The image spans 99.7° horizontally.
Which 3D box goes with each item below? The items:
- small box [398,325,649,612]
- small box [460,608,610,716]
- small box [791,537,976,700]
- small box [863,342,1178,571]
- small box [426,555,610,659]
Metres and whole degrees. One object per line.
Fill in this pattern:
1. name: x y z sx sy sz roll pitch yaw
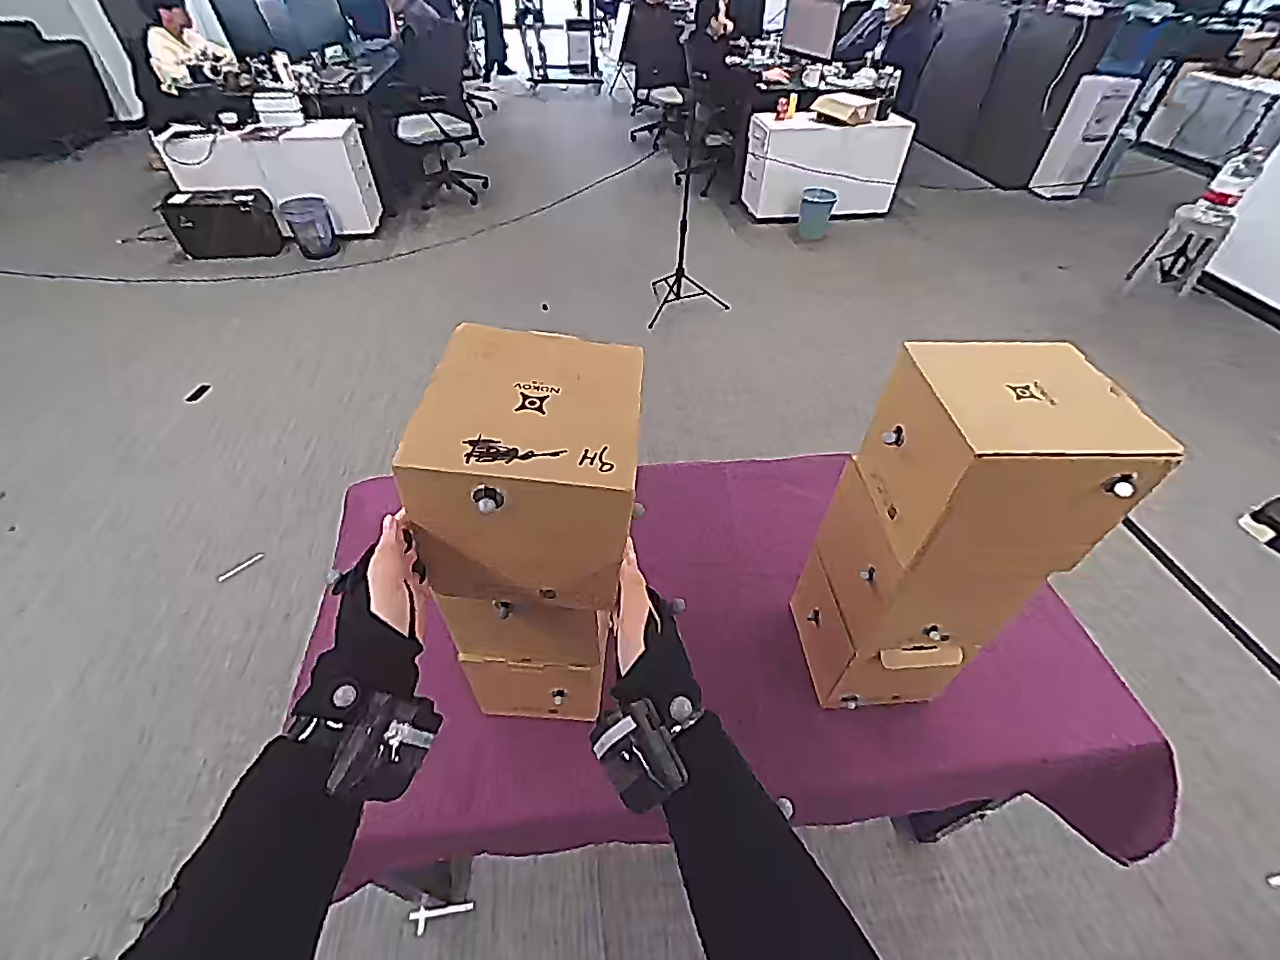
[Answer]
1. small box: -0.087 -0.009 0.477 0.168 0.176 0.179 6 47 -3
2. small box: -0.132 0.213 0.760 0.168 0.176 0.179 4 46 1
3. small box: 0.332 0.203 0.780 0.168 0.176 0.179 -2 45 -4
4. small box: 0.345 -0.021 0.543 0.179 0.176 0.168 0 46 -2
5. small box: -0.123 0.097 0.644 0.179 0.176 0.168 5 47 2
